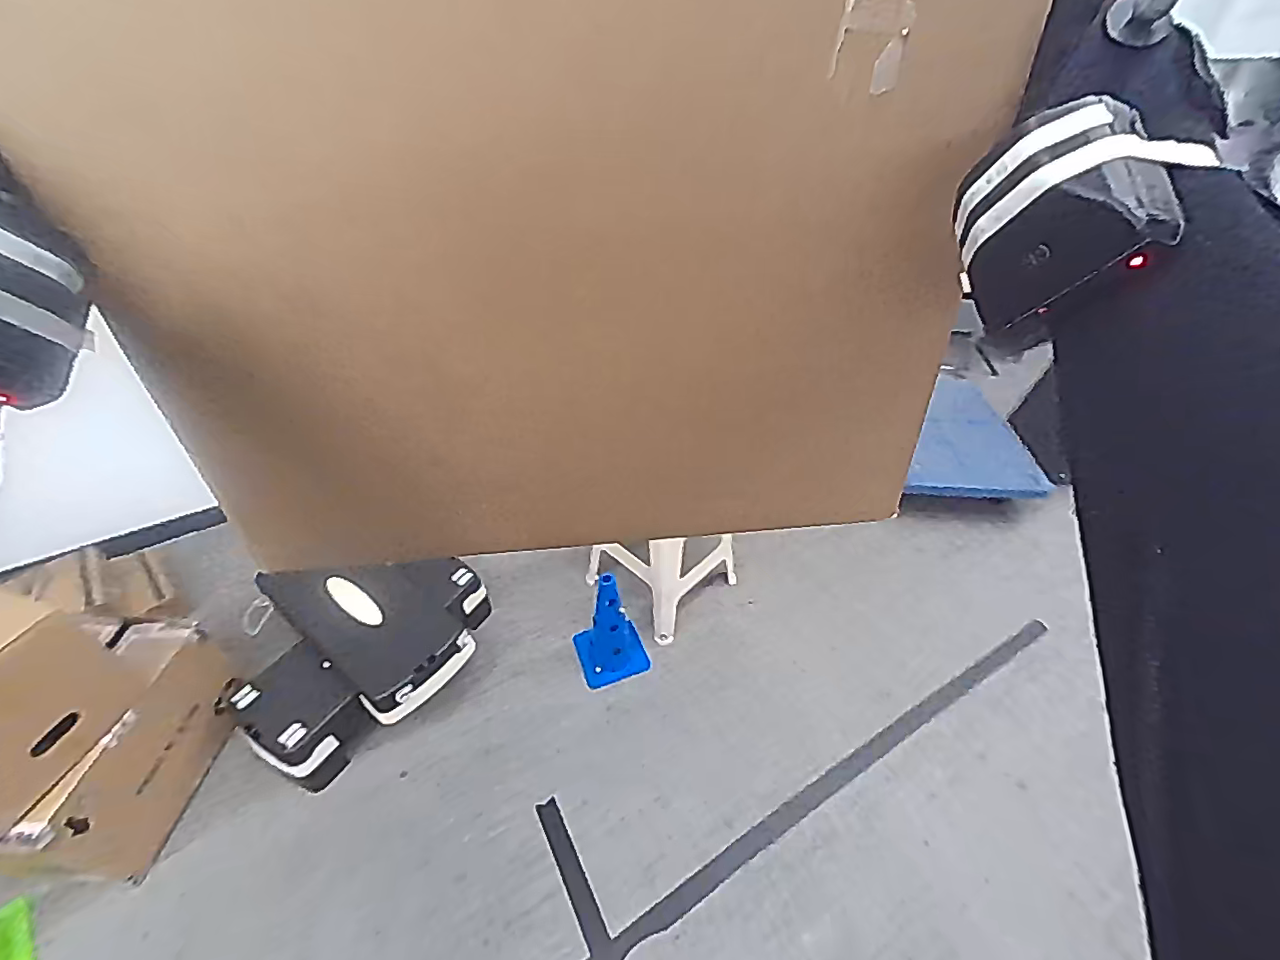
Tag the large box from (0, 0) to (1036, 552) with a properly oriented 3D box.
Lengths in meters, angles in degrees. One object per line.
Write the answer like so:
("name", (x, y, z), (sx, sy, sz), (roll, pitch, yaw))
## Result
("large box", (-0.047, -0.172, 0.389), (0.408, 0.320, 0.320), (-3, 36, -3))
